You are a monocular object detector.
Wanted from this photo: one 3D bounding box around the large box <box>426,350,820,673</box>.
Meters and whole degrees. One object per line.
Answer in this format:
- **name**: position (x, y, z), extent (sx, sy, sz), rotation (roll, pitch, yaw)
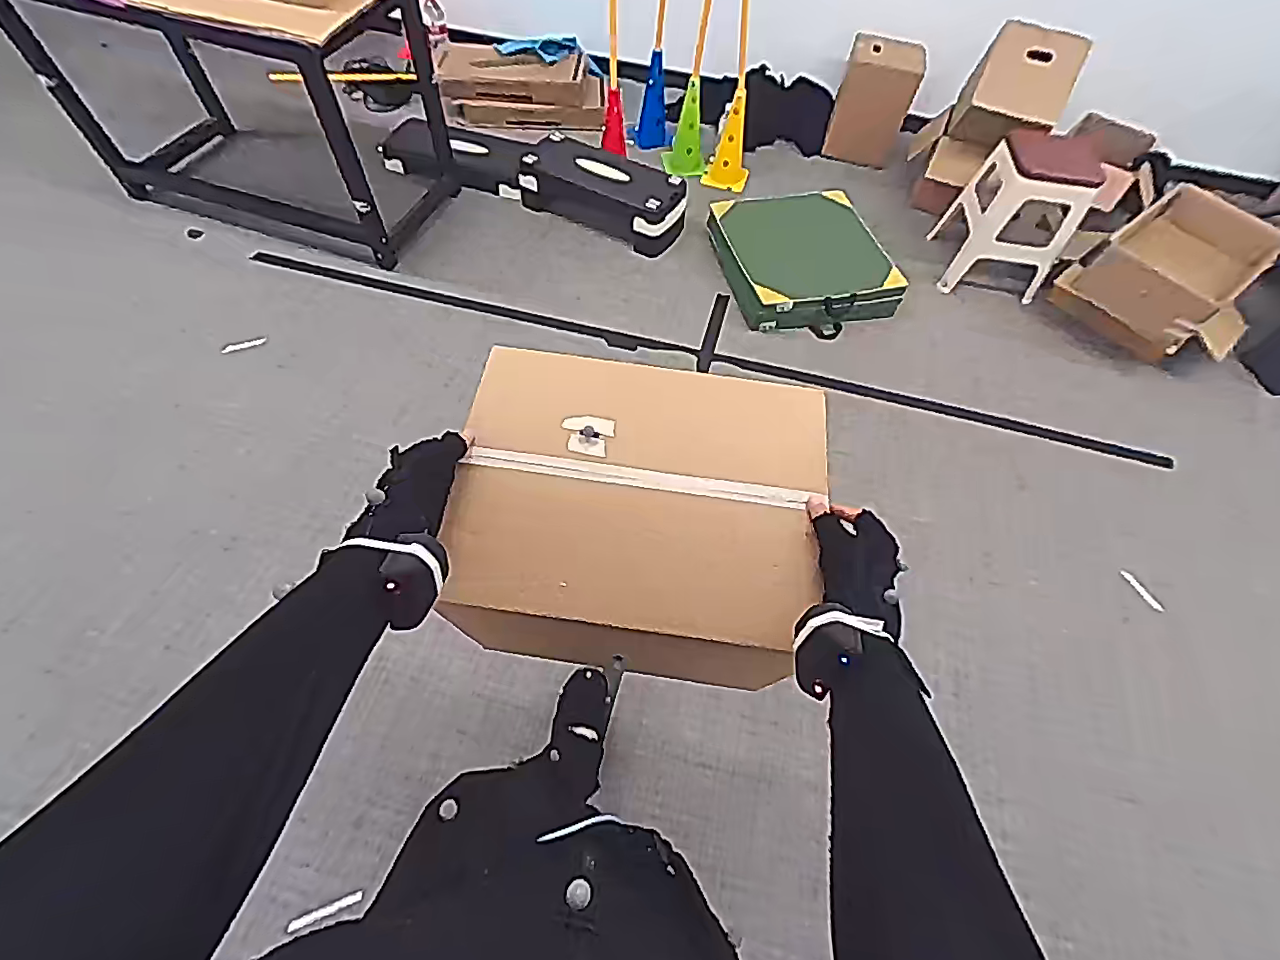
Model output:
- **large box**: position (-0.002, 0.062, 0.734), extent (0.408, 0.320, 0.320), rotation (8, 63, 3)
